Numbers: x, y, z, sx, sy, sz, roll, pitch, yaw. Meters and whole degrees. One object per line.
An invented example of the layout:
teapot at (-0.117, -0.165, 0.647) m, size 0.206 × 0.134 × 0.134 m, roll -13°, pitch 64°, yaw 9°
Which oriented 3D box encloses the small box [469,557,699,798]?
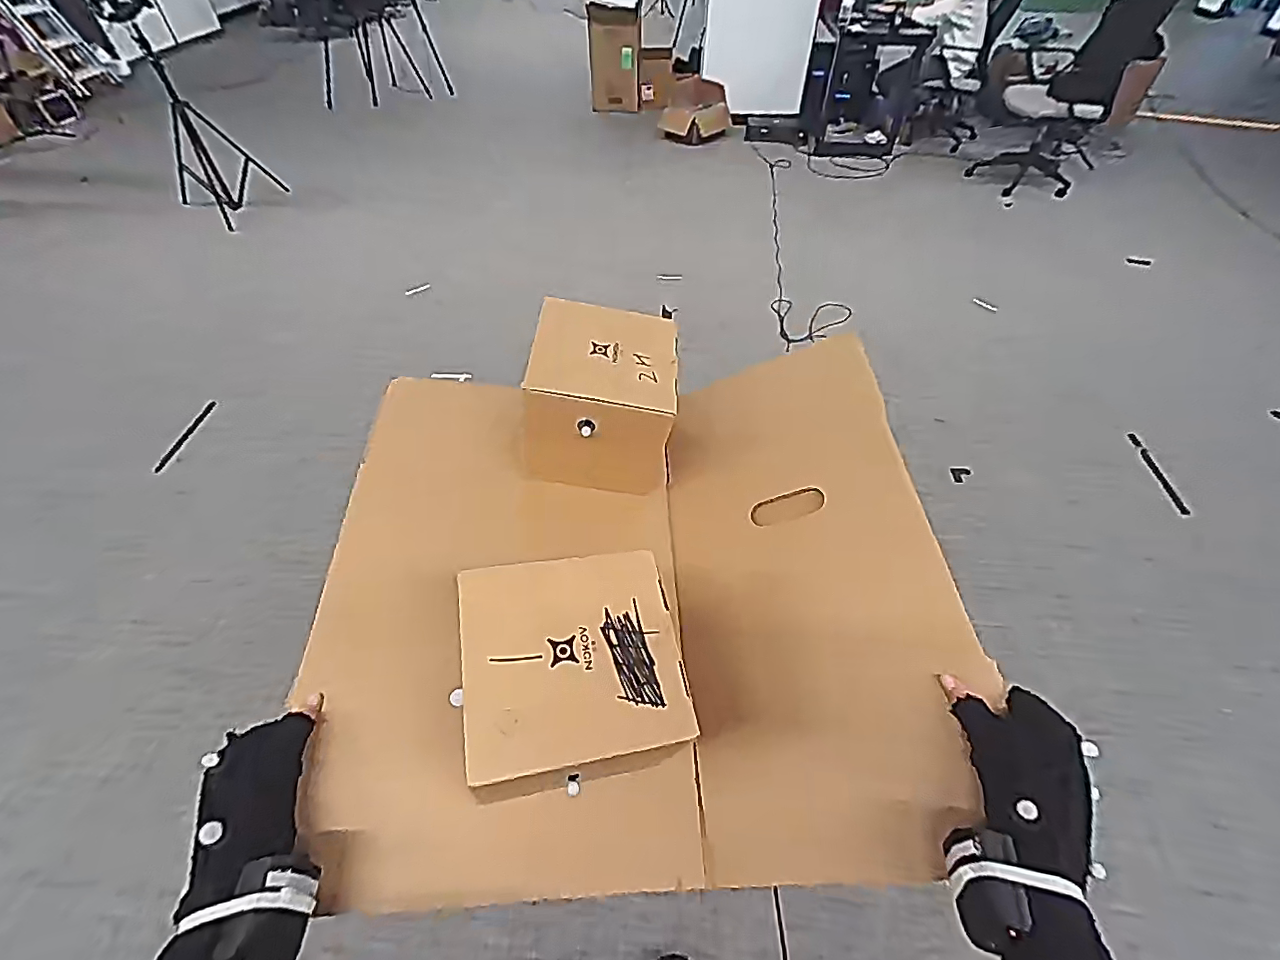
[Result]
small box at (-0.066, 0.188, 0.511) m, size 0.179 × 0.176 × 0.168 m, roll -4°, pitch 57°, yaw -15°

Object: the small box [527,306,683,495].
small box at (-0.050, -0.098, 0.717) m, size 0.179 × 0.176 × 0.168 m, roll 10°, pitch 54°, yaw -7°
